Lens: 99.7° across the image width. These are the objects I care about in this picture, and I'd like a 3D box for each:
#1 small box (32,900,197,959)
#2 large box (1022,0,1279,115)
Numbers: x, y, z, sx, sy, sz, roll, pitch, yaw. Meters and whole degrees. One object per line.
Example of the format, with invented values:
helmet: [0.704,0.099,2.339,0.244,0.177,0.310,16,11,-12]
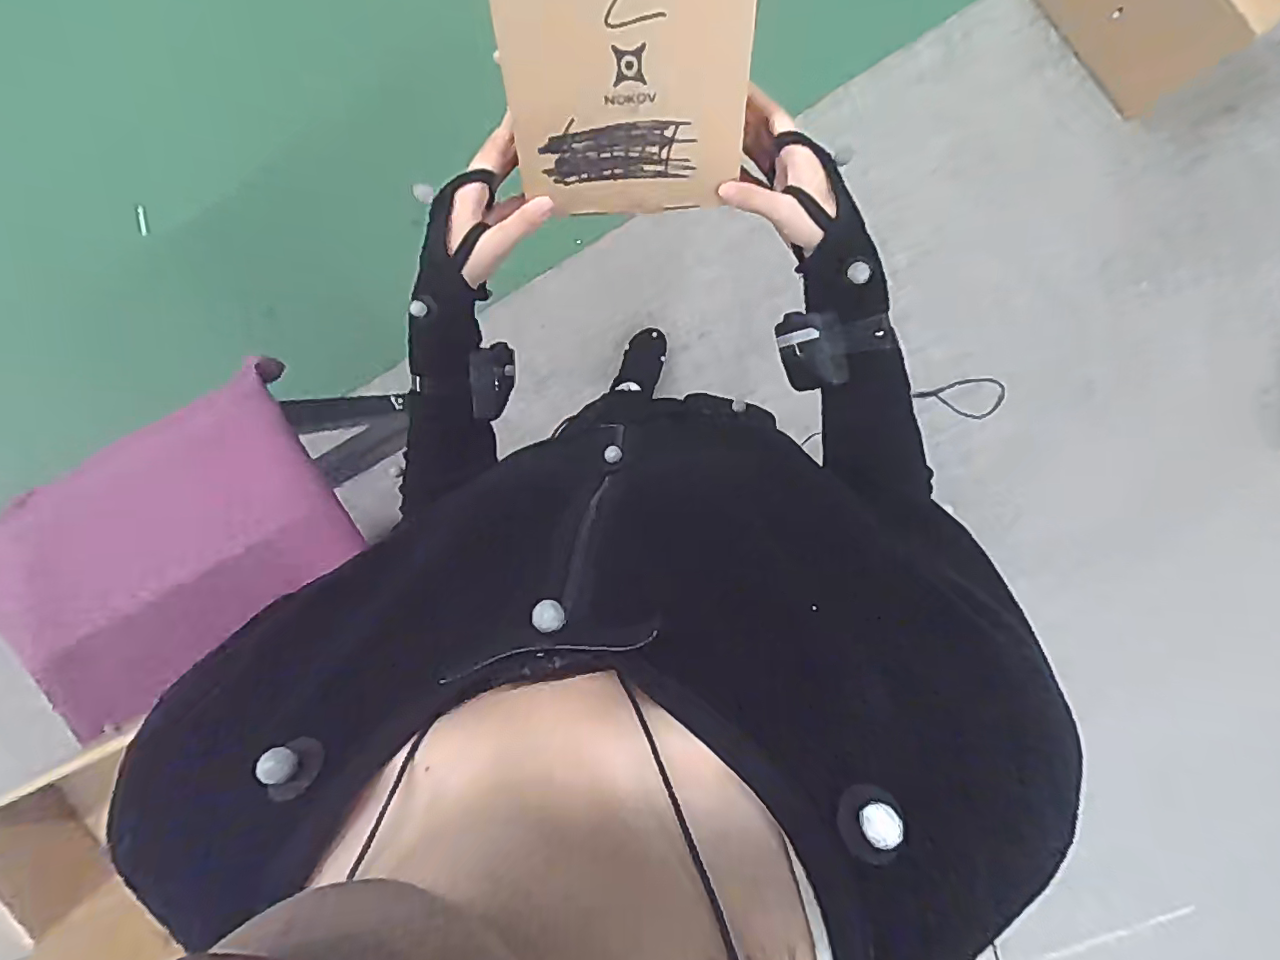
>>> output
small box: [-0.671,0.654,0.642,0.179,0.176,0.168,-25,97,7]
large box: [1.085,-1.059,1.076,0.320,0.320,0.408,-43,92,9]
